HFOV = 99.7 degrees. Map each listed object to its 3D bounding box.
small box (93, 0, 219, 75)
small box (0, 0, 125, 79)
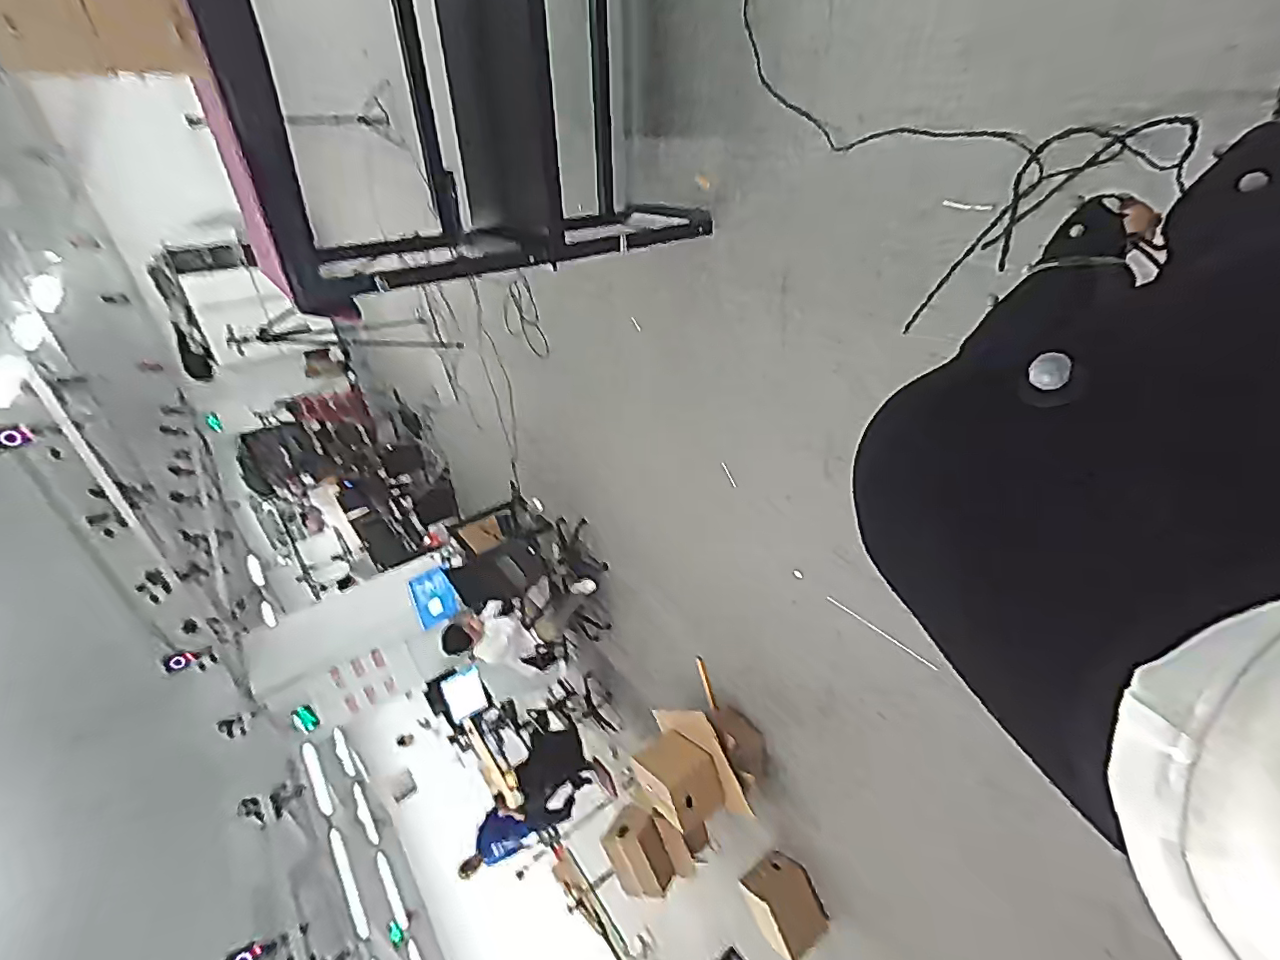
[{"bbox_3d":[-1.014,-0.951,1.128,0.179,0.176,0.168,38,140,40],"label":"small box"},{"bbox_3d":[-1.142,-0.889,1.045,0.168,0.176,0.179,37,140,40],"label":"small box"}]
